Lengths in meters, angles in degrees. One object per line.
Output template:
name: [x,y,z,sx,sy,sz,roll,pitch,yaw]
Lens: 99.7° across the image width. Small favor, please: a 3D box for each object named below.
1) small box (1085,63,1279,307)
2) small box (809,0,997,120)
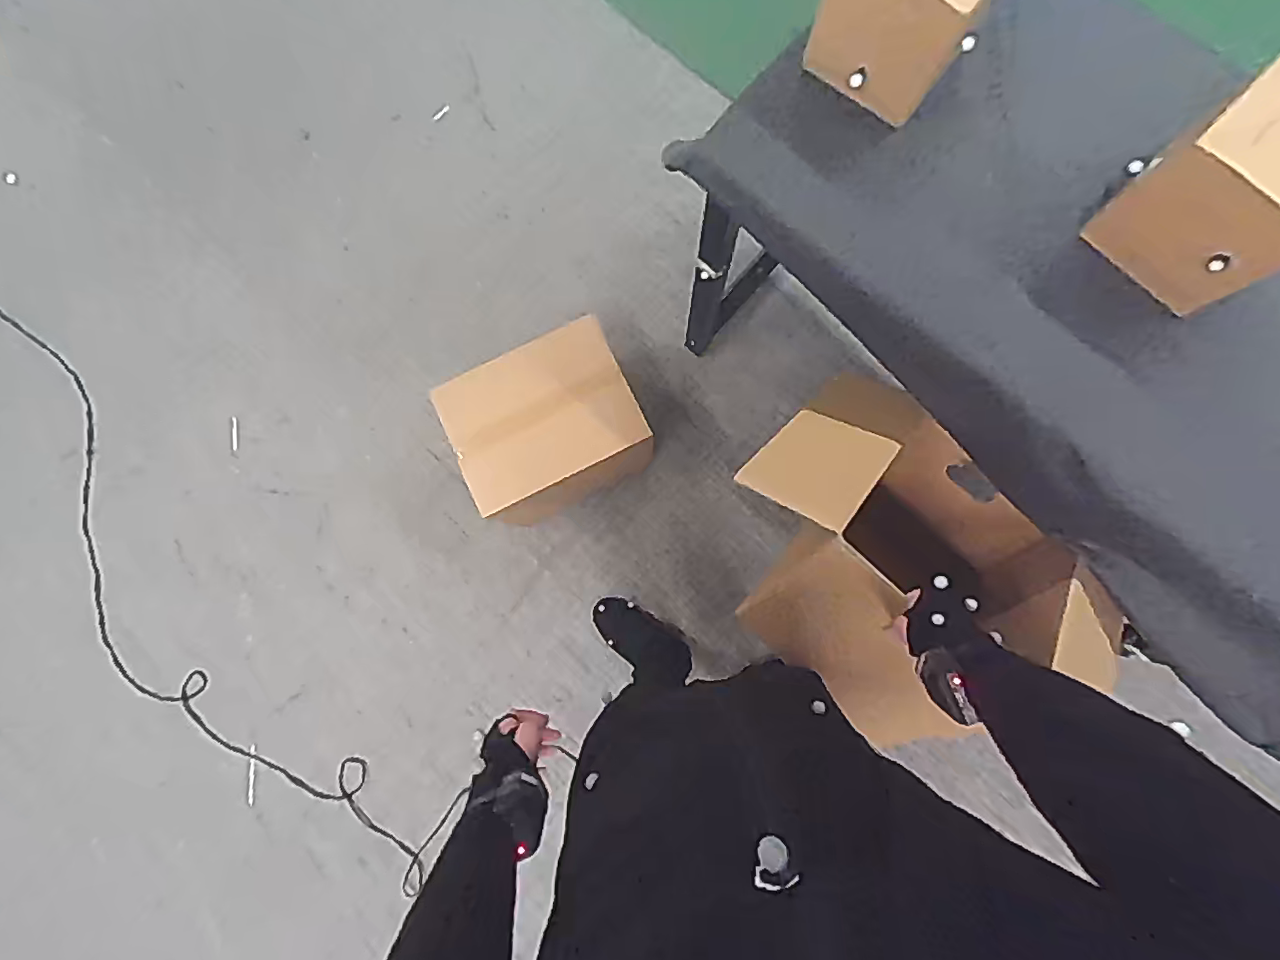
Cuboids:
small box: [0.719,-0.340,0.659,0.168,0.176,0.179,-44,82,-6]
small box: [0.356,-0.621,0.707,0.179,0.176,0.168,37,84,5]
